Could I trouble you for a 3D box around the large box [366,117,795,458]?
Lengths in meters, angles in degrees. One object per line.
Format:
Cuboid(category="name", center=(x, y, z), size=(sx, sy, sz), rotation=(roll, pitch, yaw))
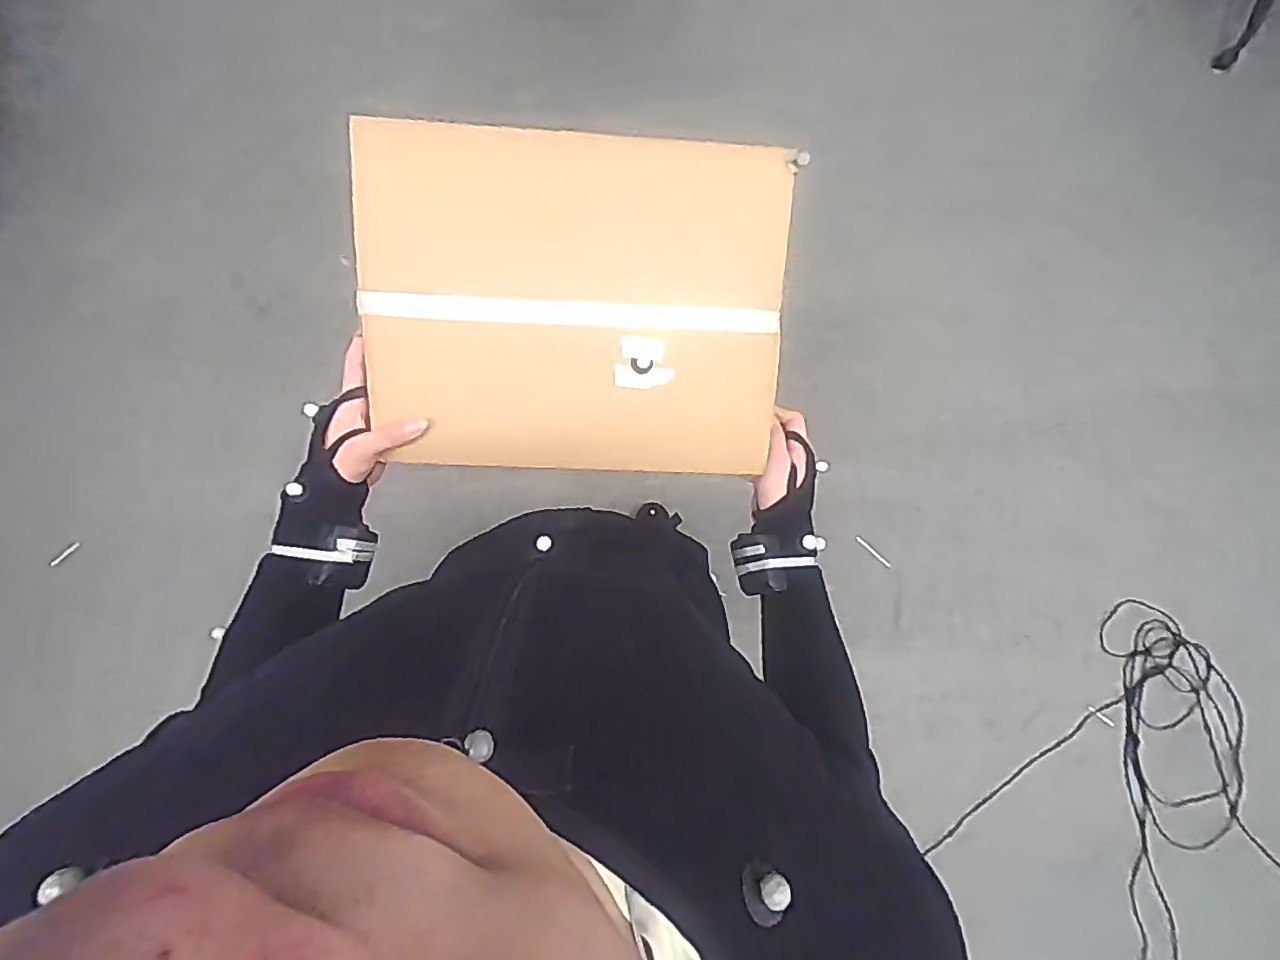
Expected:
Cuboid(category="large box", center=(-0.066, -0.209, 0.677), size=(0.408, 0.320, 0.320), rotation=(1, 104, -4))
